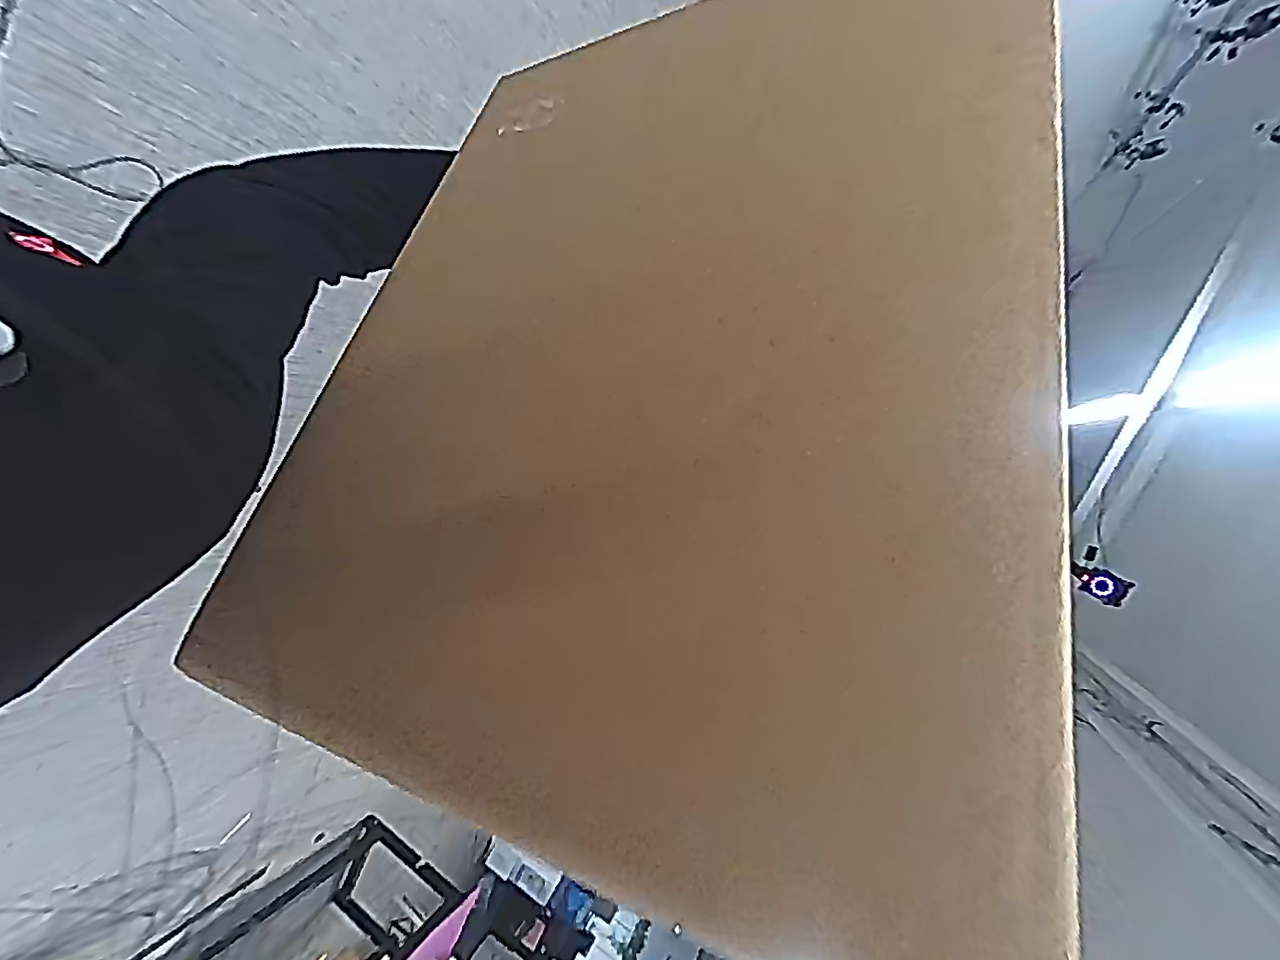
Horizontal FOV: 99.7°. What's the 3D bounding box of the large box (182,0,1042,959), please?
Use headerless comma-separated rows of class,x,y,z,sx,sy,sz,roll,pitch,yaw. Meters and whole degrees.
large box,0.044,-0.024,0.355,0.320,0.320,0.408,50,52,-54
